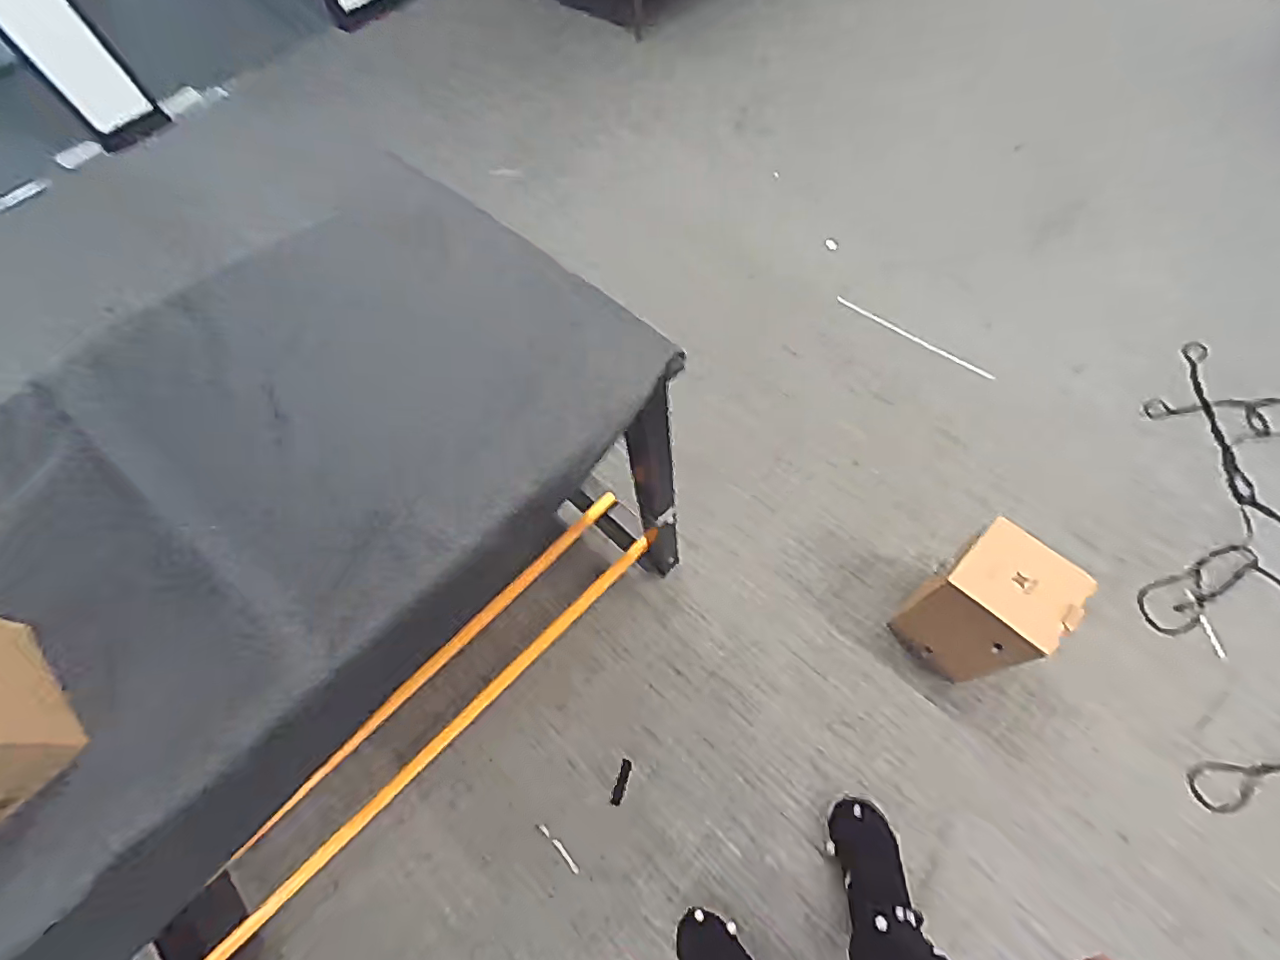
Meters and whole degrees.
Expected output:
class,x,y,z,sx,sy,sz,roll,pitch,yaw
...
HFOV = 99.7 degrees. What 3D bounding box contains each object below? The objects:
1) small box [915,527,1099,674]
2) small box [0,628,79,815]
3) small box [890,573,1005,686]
class,x,y,z,sx,sy,sz,roll,pitch,yaw
small box,0.628,0.219,0.948,0.168,0.176,0.179,-42,65,-17
small box,-0.620,0.212,0.428,0.179,0.176,0.168,36,70,23
small box,0.647,0.295,1.091,0.168,0.176,0.179,-40,67,-16
